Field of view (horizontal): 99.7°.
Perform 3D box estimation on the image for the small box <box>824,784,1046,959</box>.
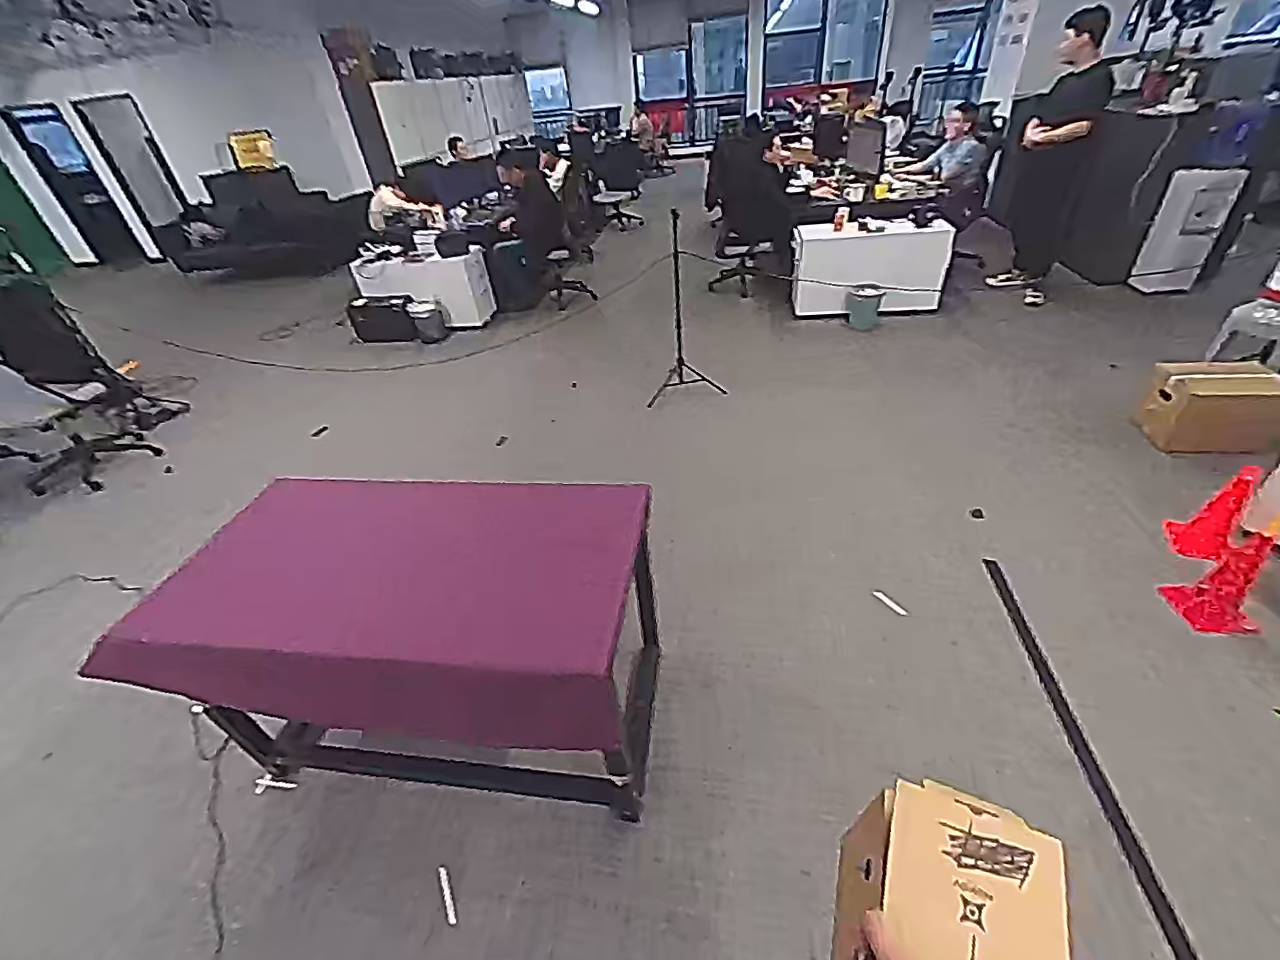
[{"bbox_3d":[0.312,0.486,0.599,0.168,0.176,0.179,15,41,14],"label":"small box"}]
